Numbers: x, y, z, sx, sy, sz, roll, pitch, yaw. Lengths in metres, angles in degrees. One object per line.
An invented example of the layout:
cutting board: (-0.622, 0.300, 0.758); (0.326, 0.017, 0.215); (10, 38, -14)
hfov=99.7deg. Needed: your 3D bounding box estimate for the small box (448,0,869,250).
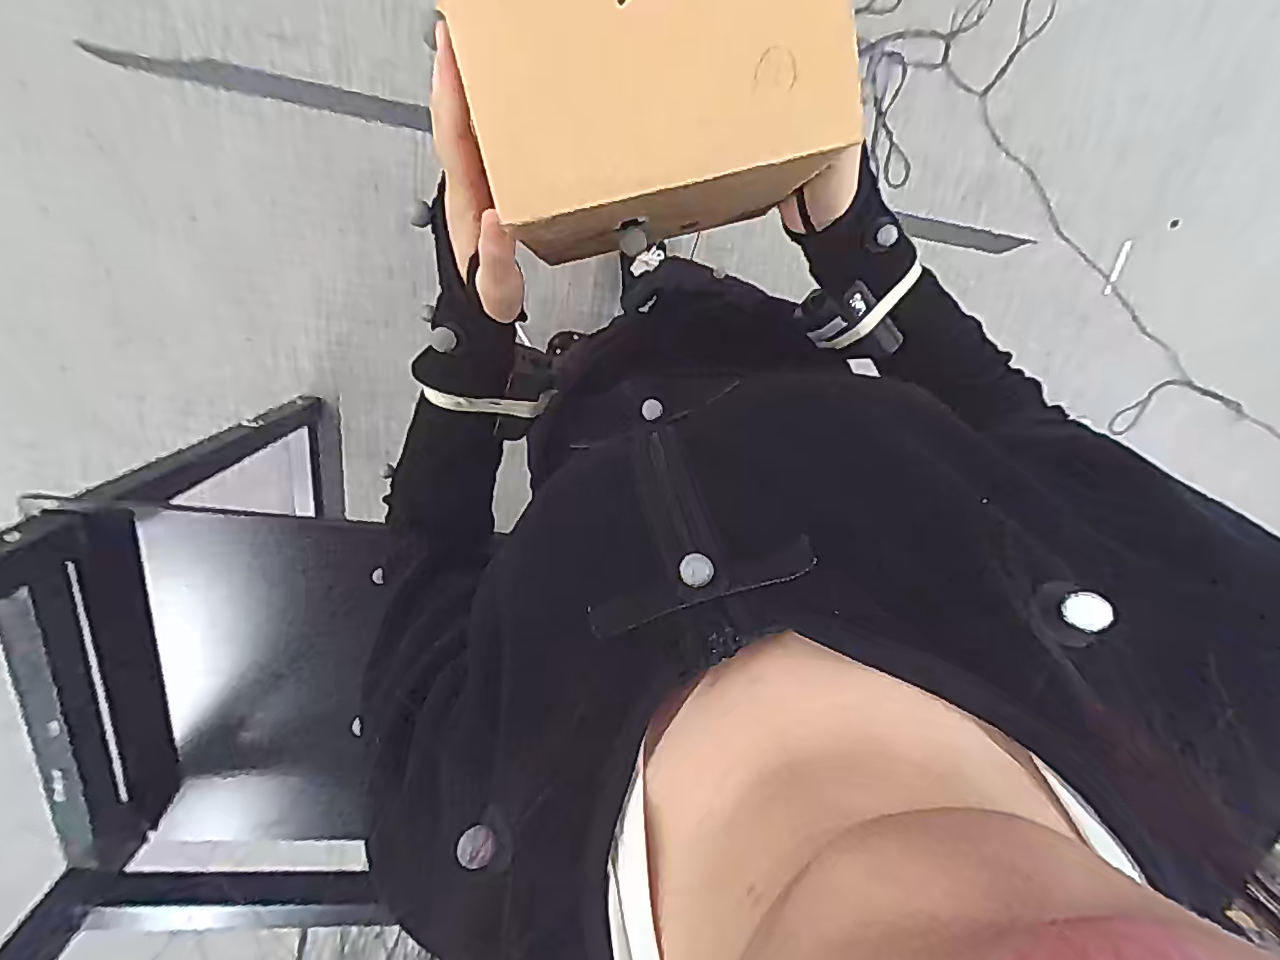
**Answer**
small box: (0.000, -0.234, 0.290); (0.168, 0.176, 0.179); (-13, 105, 2)
